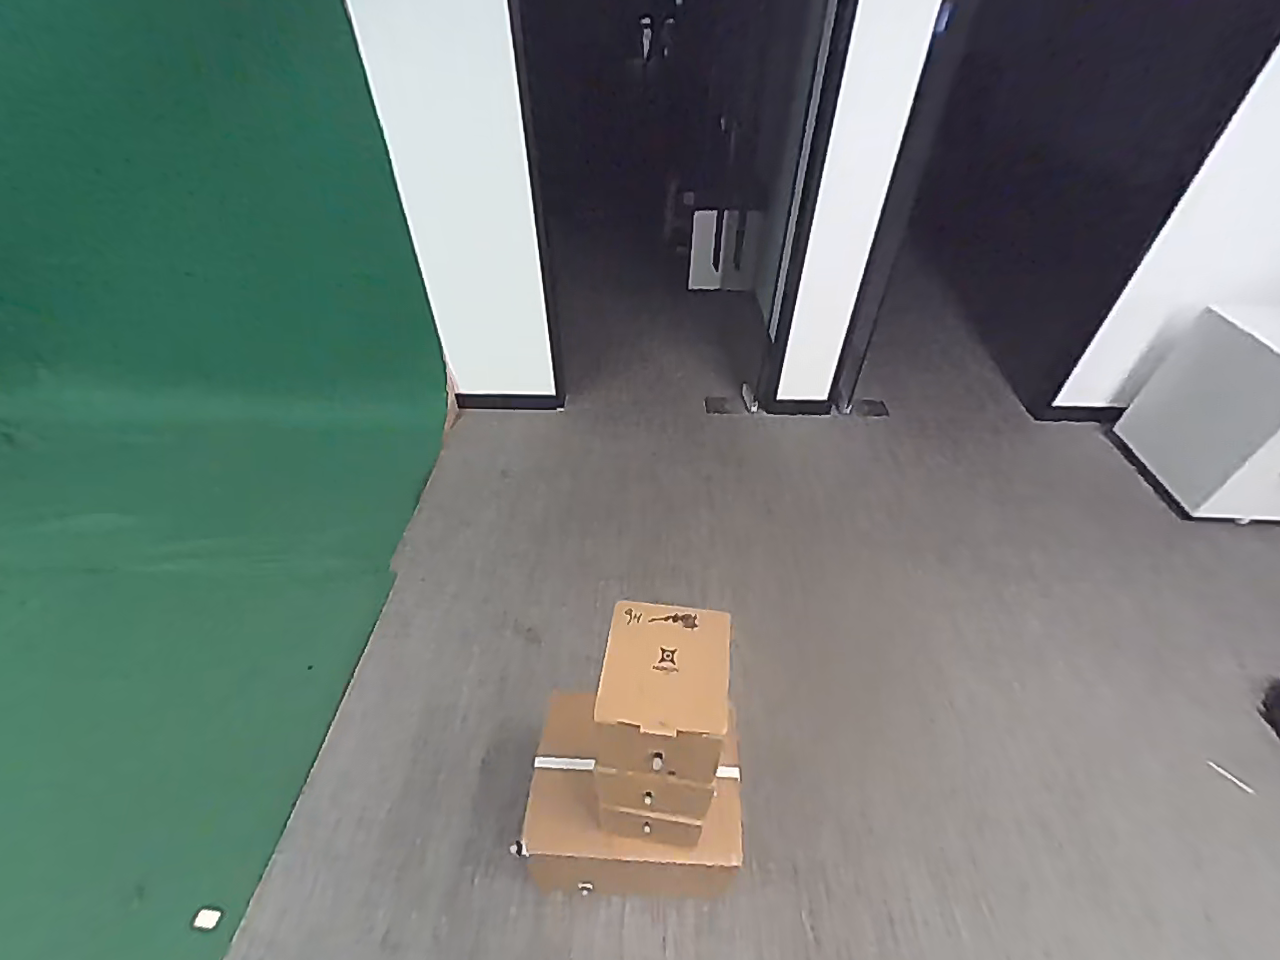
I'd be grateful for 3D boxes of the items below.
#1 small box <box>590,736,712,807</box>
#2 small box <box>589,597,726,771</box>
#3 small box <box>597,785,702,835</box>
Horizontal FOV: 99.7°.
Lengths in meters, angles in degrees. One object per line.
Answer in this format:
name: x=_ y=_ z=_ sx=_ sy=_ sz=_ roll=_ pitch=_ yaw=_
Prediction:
small box: x=0.028 y=0.415 z=0.883 sx=0.179 sy=0.176 sz=0.168 roll=4 pitch=46 yaw=7
small box: x=0.031 y=0.293 z=0.773 sx=0.168 sy=0.176 sz=0.179 roll=6 pitch=46 yaw=6
small box: x=0.025 y=0.533 z=0.996 sx=0.179 sy=0.176 sz=0.168 roll=7 pitch=46 yaw=5
